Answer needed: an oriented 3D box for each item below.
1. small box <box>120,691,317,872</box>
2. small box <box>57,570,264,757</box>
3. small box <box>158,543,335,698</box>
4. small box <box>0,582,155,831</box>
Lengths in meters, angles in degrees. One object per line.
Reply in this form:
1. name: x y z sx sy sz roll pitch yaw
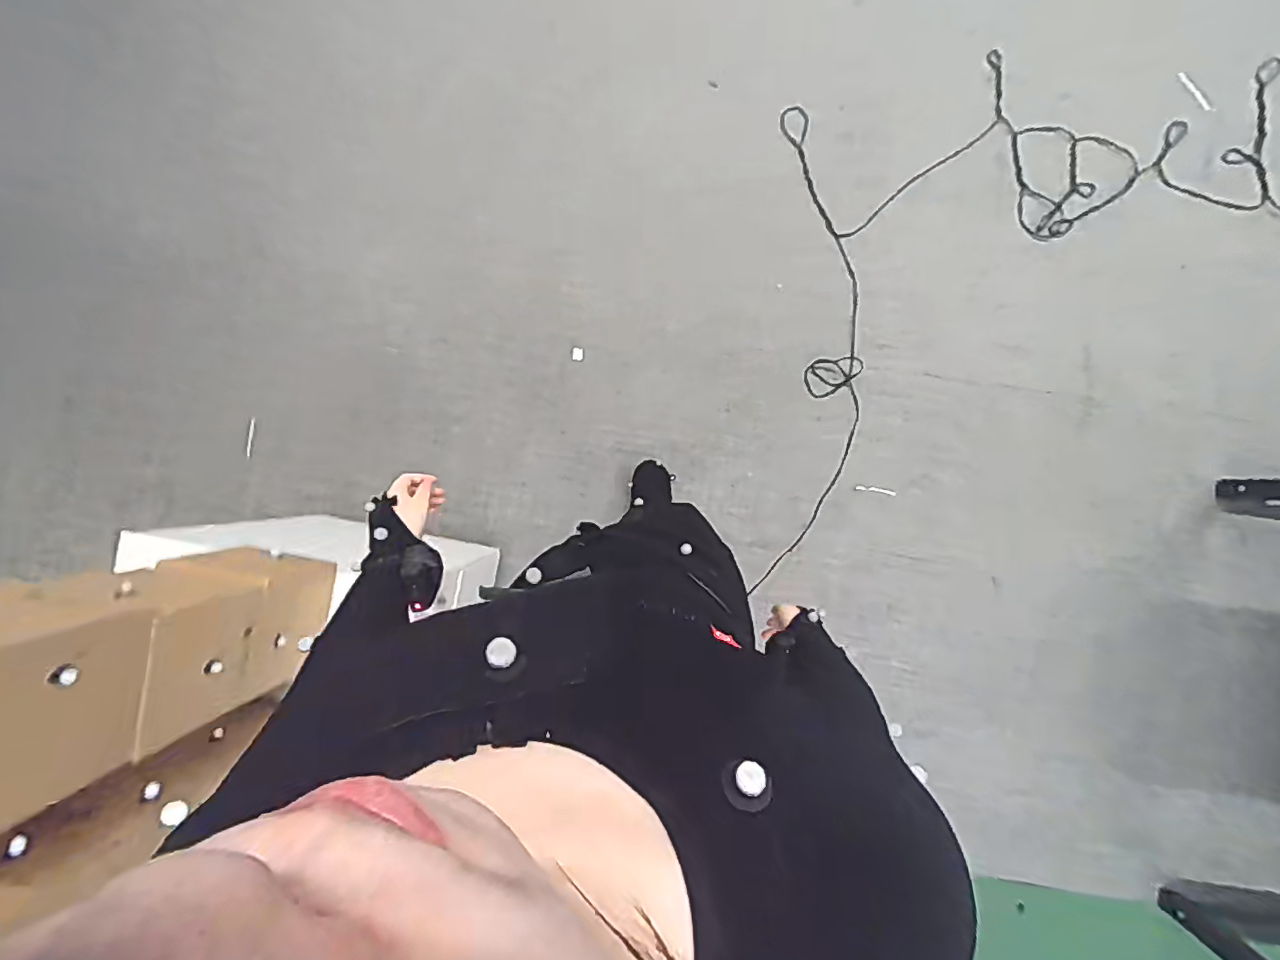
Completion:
1. small box: -0.638 0.451 0.839 0.168 0.176 0.179 11 88 1
2. small box: -0.614 0.213 0.674 0.179 0.176 0.168 8 90 1
3. small box: -0.607 0.206 0.839 0.168 0.176 0.179 11 90 1
4. small box: -0.617 0.205 0.511 0.168 0.176 0.179 10 92 1
